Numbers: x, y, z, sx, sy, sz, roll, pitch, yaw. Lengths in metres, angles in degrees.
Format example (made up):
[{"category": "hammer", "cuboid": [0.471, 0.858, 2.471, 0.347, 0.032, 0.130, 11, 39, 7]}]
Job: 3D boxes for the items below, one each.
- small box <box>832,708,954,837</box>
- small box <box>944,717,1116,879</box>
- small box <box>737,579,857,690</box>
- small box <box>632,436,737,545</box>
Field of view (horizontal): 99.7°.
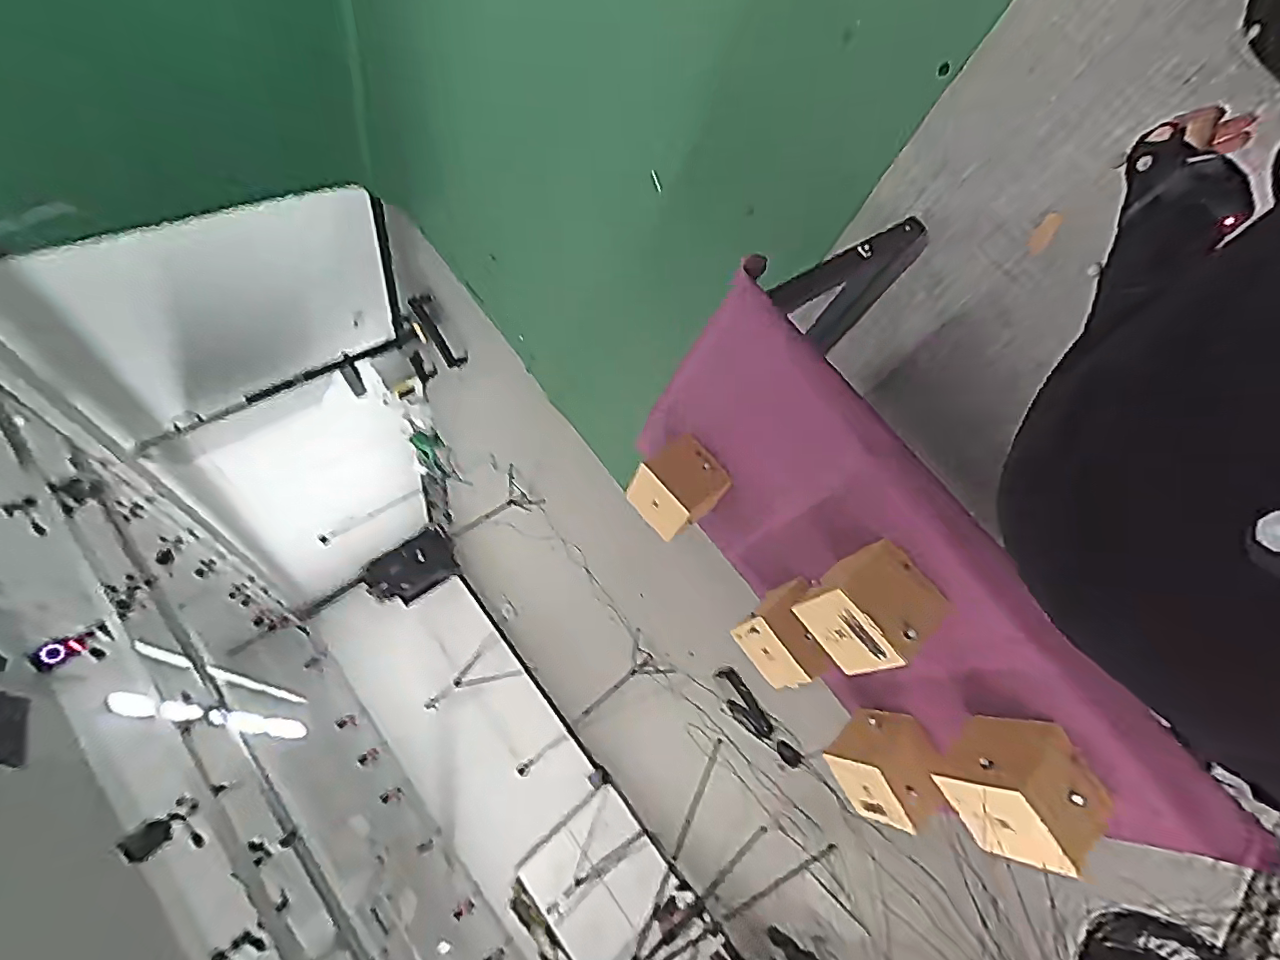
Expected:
[{"category": "small box", "cuboid": [0.591, 0.662, 1.245, 0.179, 0.176, 0.168, 58, 150, 0]}, {"category": "small box", "cuboid": [0.700, 0.550, 0.966, 0.168, 0.176, 0.179, 55, 152, 3]}, {"category": "small box", "cuboid": [0.373, 0.365, 1.282, 0.179, 0.176, 0.168, 50, 149, 10]}, {"category": "small box", "cuboid": [0.110, 0.025, 1.339, 0.168, 0.176, 0.179, 47, 149, 13]}]
